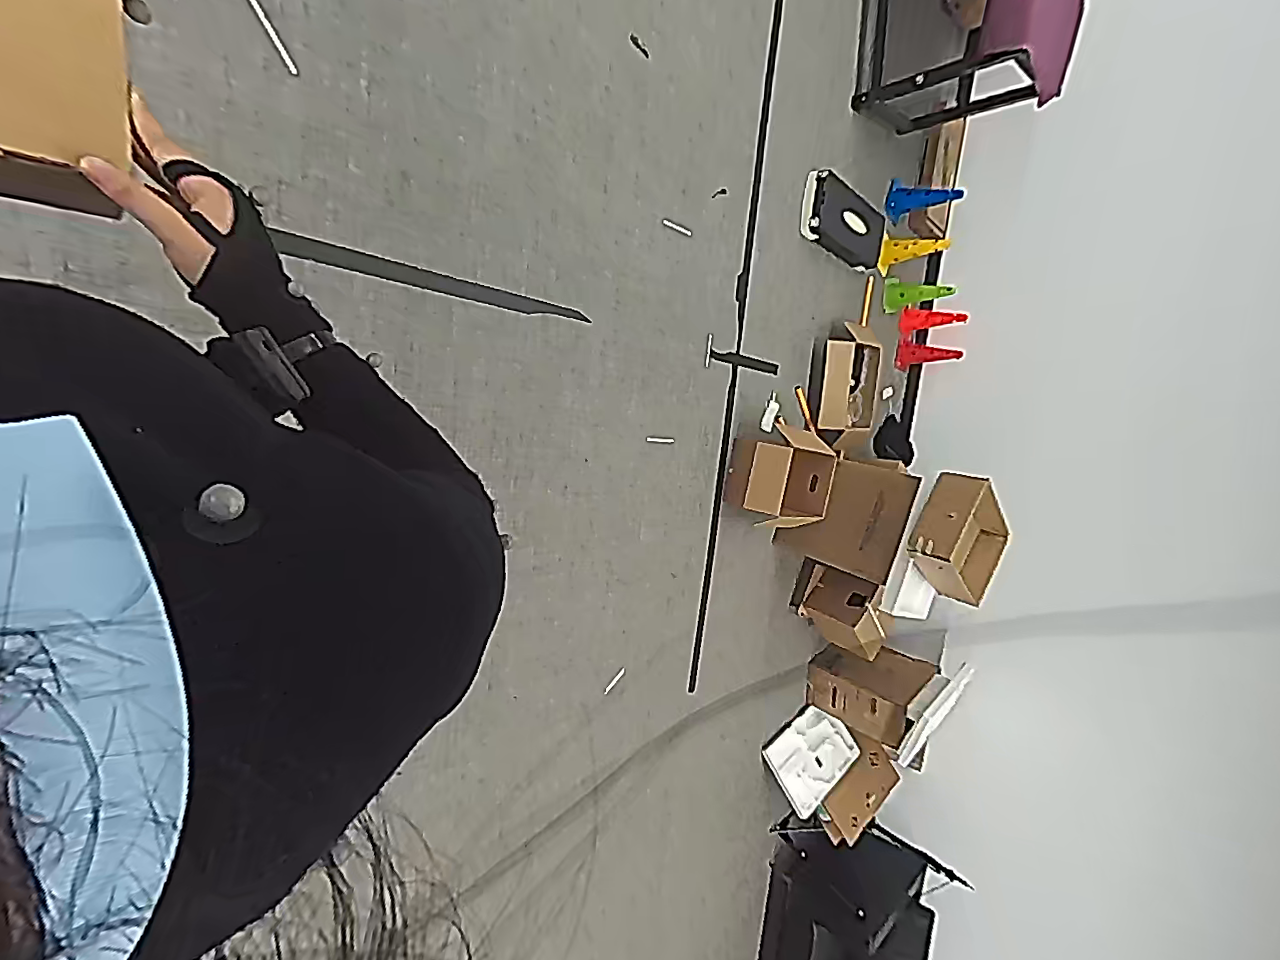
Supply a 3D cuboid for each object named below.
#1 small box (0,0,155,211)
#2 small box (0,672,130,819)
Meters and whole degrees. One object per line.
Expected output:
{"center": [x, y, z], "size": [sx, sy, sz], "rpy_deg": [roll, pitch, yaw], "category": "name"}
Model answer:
{"center": [-0.445, -0.305, 0.361], "size": [0.168, 0.176, 0.179], "rpy_deg": [-4, 103, -45], "category": "small box"}
{"center": [-1.127, 0.512, 1.071], "size": [0.168, 0.176, 0.179], "rpy_deg": [-3, 102, -44], "category": "small box"}
